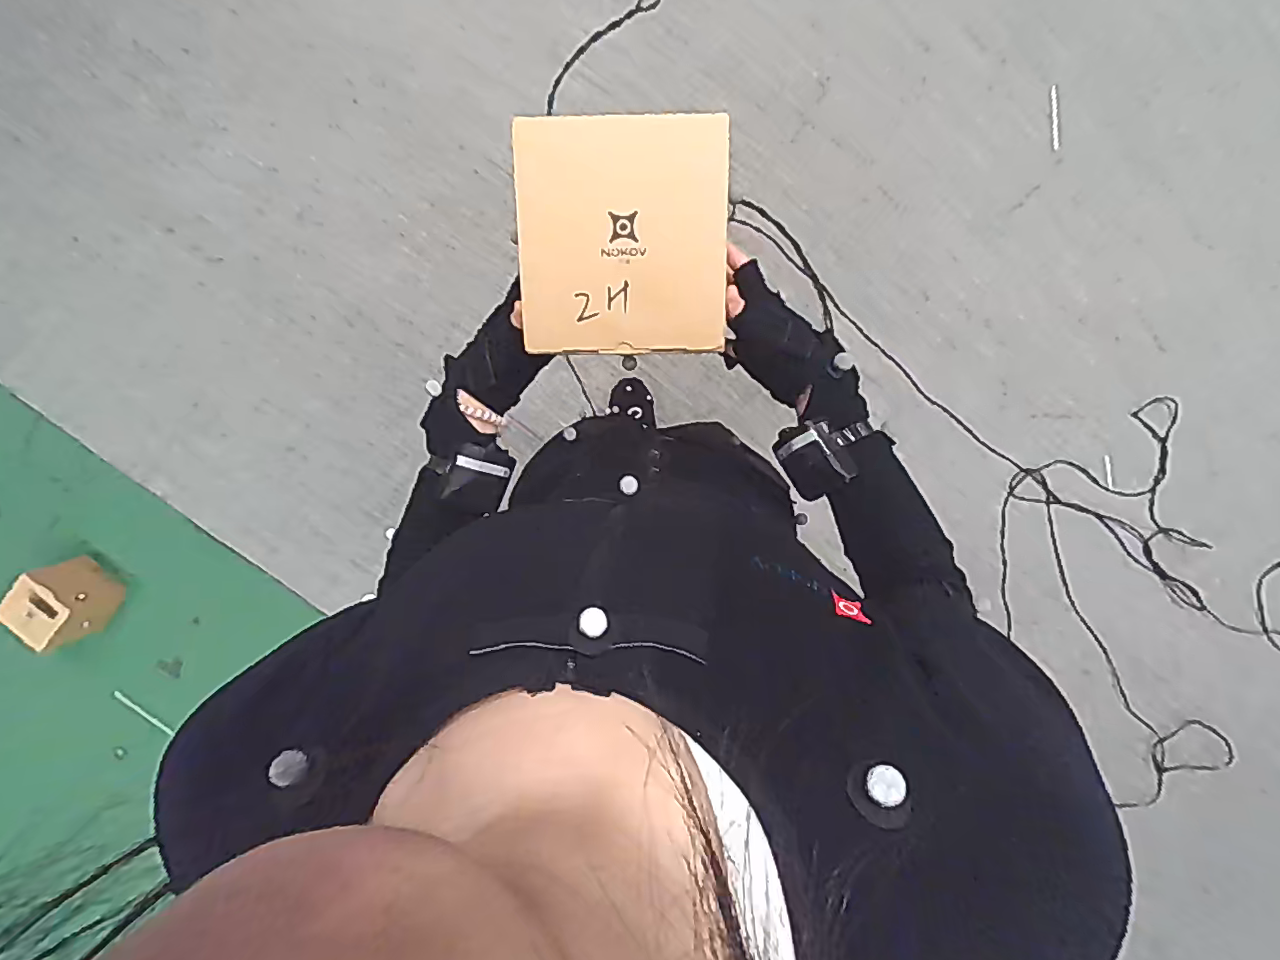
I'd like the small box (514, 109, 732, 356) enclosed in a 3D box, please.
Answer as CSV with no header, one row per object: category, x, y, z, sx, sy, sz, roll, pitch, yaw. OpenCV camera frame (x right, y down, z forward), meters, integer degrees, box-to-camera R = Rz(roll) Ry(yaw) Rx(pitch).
small box,-0.013,-0.206,0.495,0.168,0.176,0.179,0,103,1
